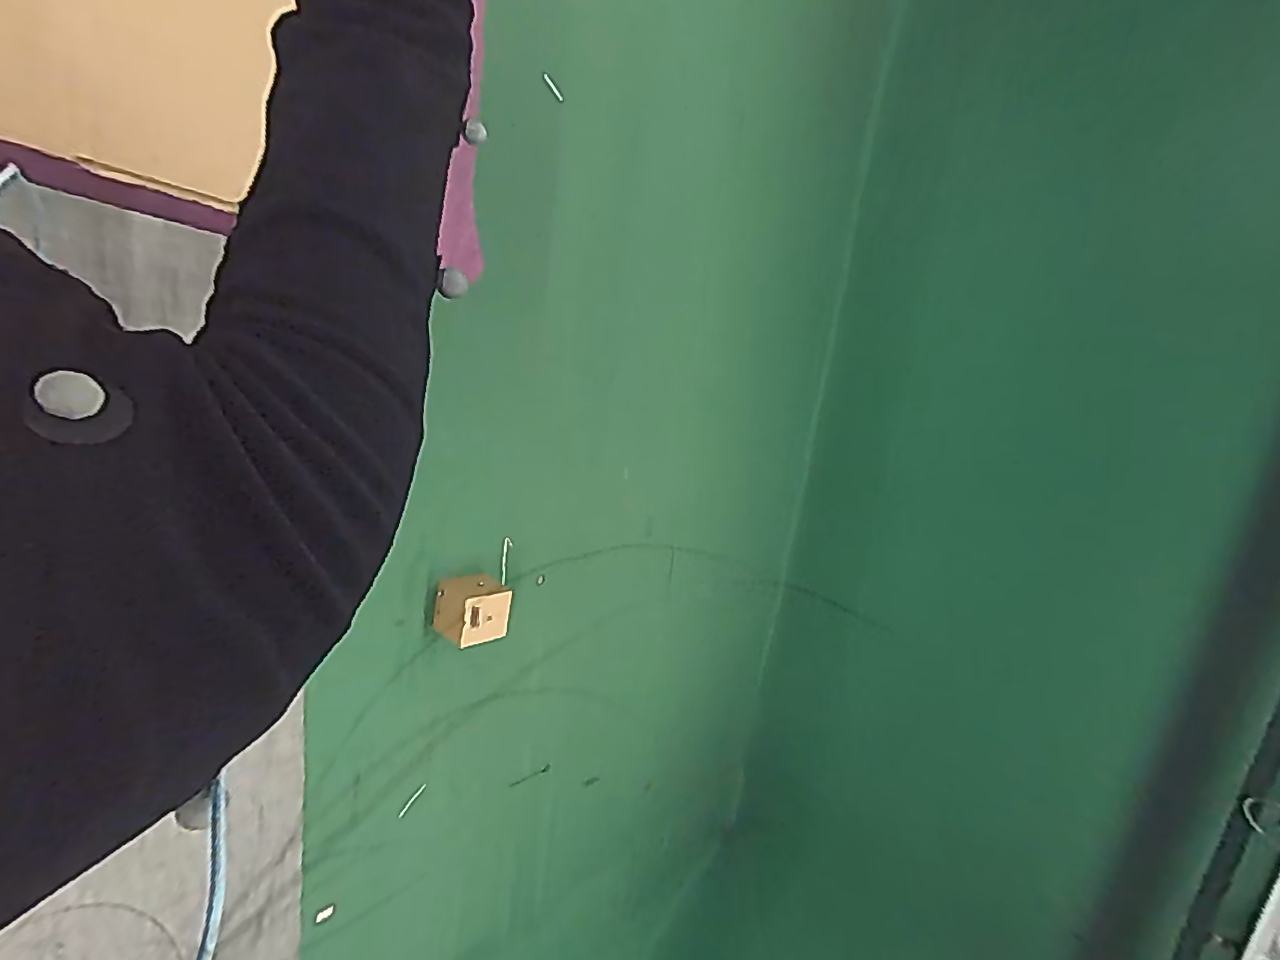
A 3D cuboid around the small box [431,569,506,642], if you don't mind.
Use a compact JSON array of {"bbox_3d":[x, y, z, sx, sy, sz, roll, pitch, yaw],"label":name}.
[{"bbox_3d":[-0.572,0.408,1.788,0.179,0.176,0.168,-4,107,-49],"label":"small box"}]
